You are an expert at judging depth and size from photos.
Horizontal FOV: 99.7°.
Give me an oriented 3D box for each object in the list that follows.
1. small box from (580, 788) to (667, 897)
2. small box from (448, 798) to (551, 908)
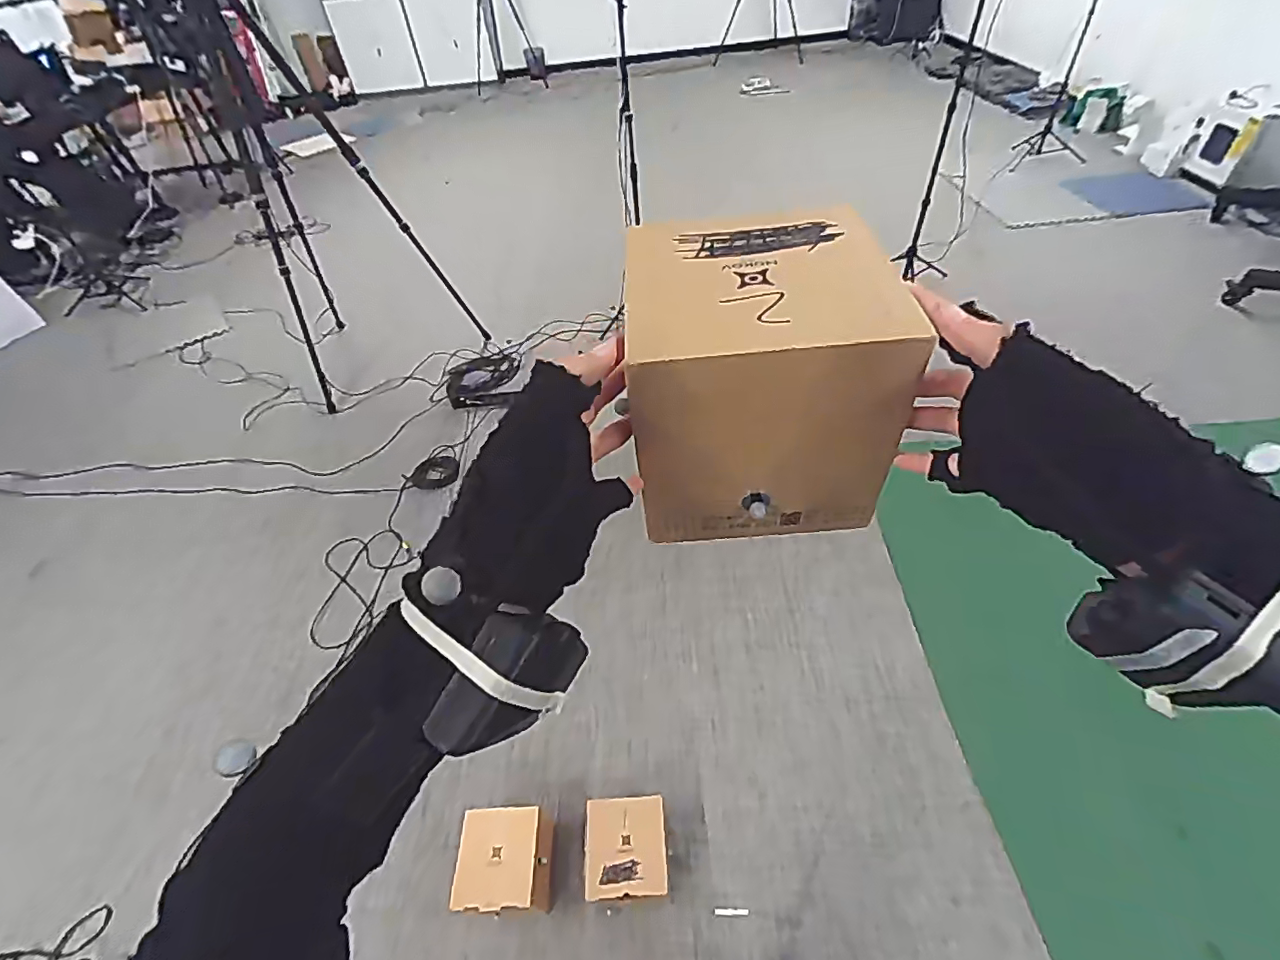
[{"bbox_3d":[-0.032,0.792,1.175,0.168,0.176,0.179,-5,46,2],"label":"small box"},{"bbox_3d":[-0.297,0.818,1.185,0.168,0.176,0.179,-5,47,3],"label":"small box"}]
